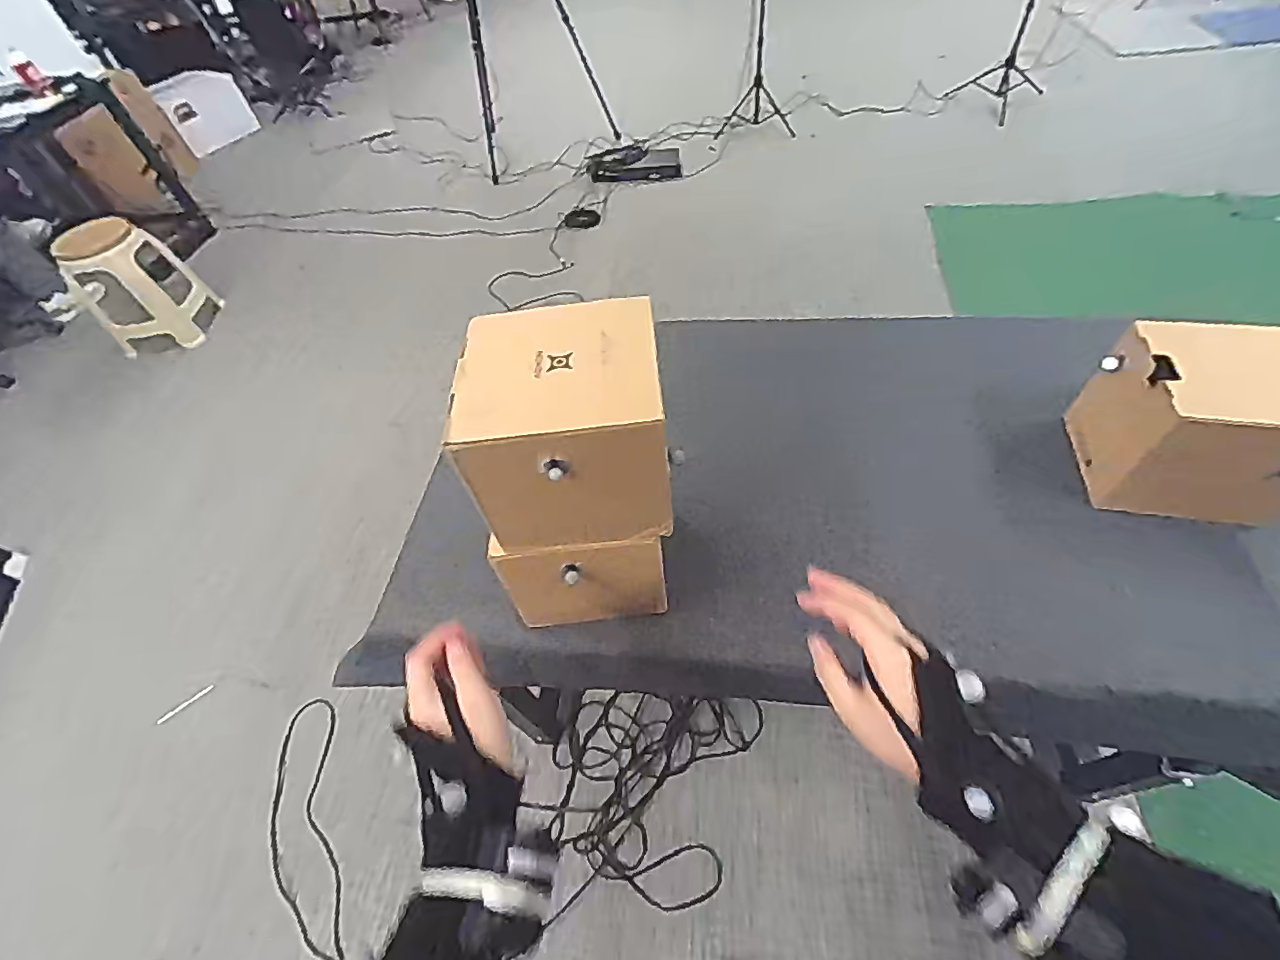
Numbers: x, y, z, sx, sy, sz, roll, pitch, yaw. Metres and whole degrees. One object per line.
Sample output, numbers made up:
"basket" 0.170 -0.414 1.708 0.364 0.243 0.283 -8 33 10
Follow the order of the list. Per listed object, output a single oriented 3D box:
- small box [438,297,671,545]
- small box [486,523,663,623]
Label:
"small box" -0.066 -0.049 0.523 0.179 0.176 0.168 -6 52 2
"small box" -0.066 0.057 0.647 0.179 0.176 0.168 -7 51 2
